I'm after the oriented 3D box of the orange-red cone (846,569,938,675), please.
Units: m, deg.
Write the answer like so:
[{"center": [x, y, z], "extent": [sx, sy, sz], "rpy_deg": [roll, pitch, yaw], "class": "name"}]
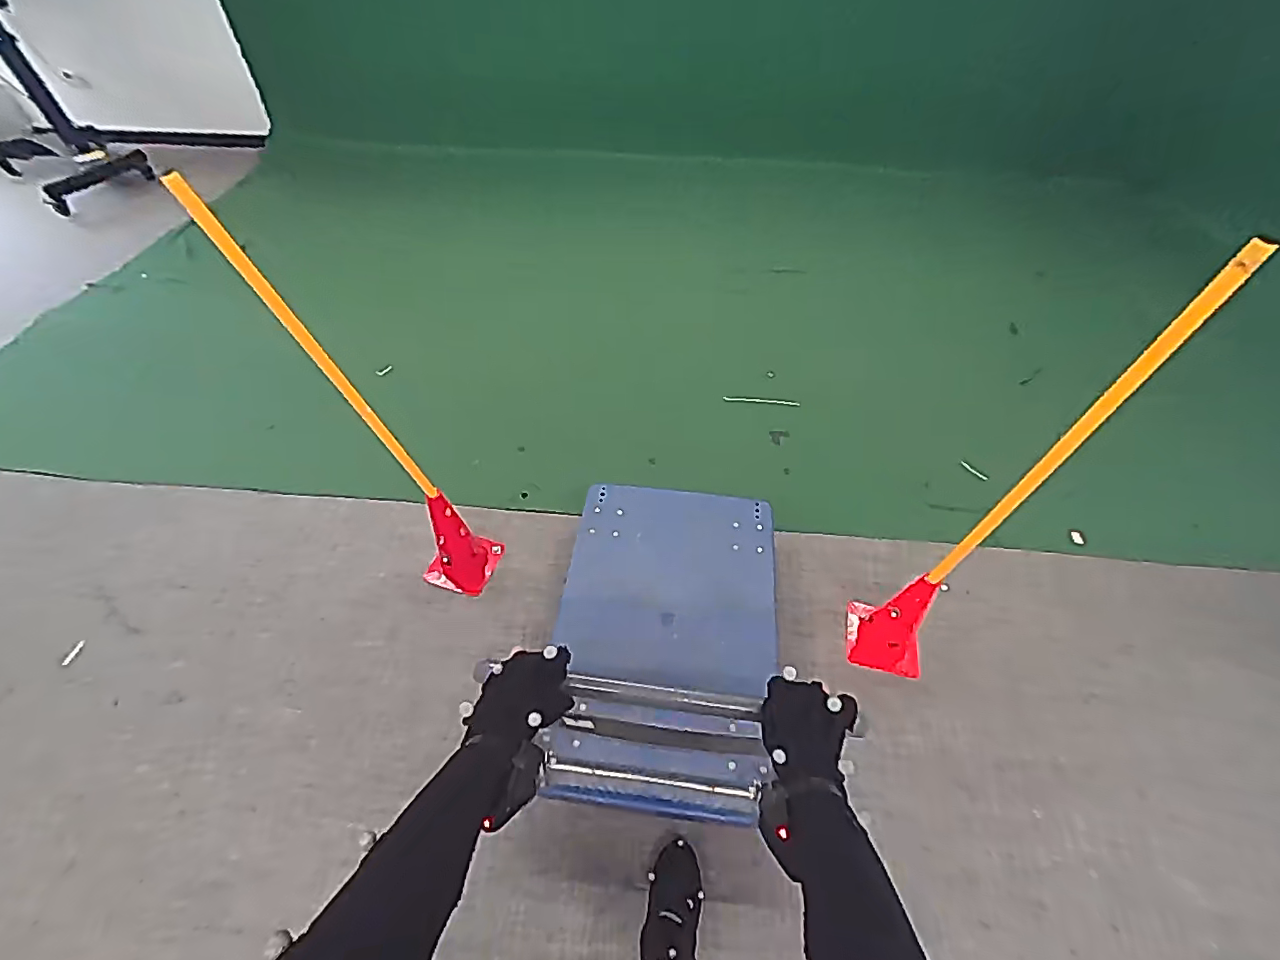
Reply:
[{"center": [0.706, 0.345, 1.443], "extent": [0.198, 0.360, 0.199], "rpy_deg": [13, 52, 10], "class": "orange-red cone"}]
